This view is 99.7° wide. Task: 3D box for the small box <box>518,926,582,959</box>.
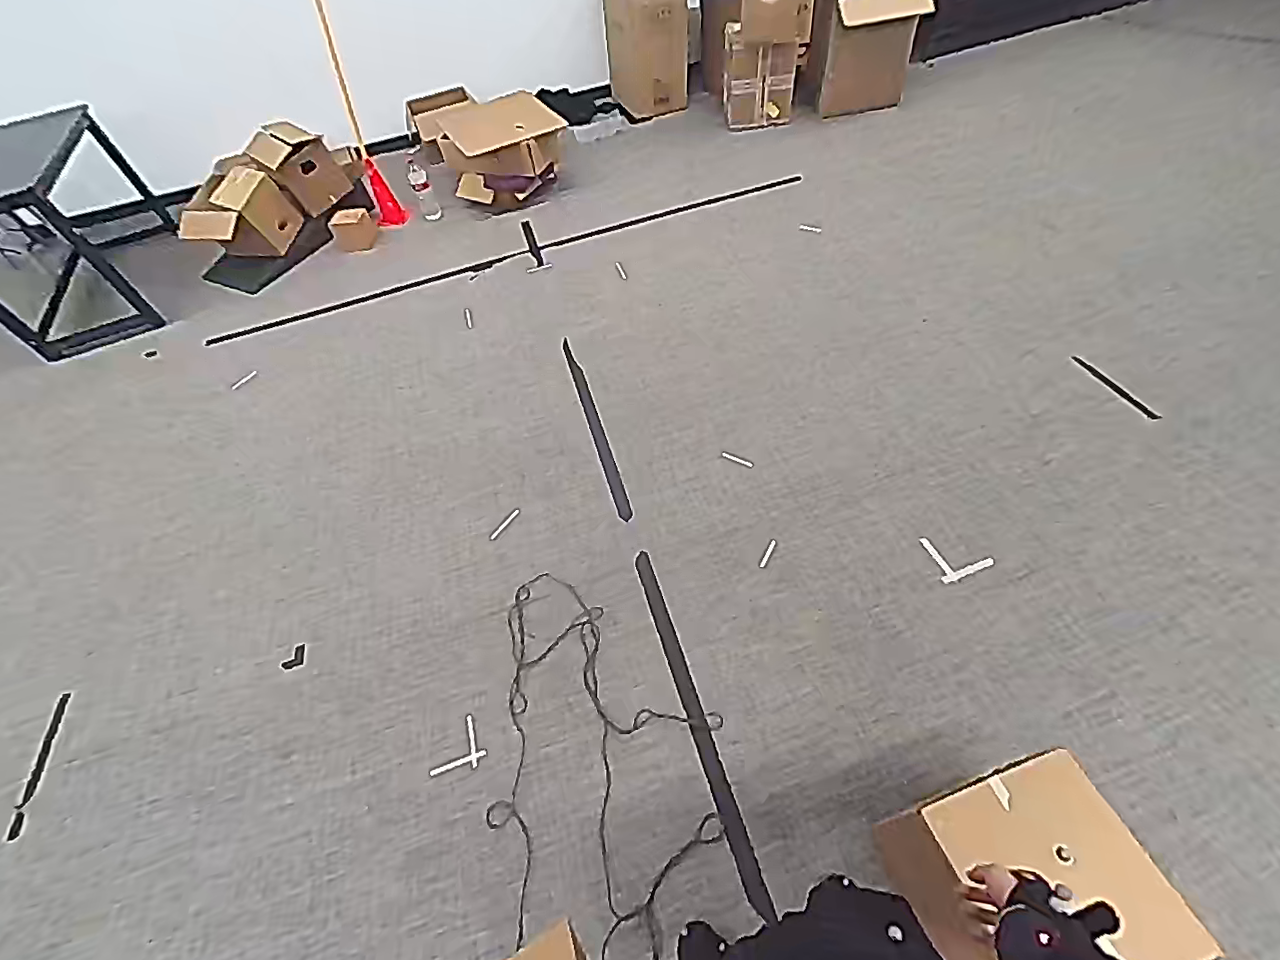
[{"bbox_3d":[-0.116,0.731,0.667,0.168,0.179,0.176,-24,90,-17],"label":"small box"}]
